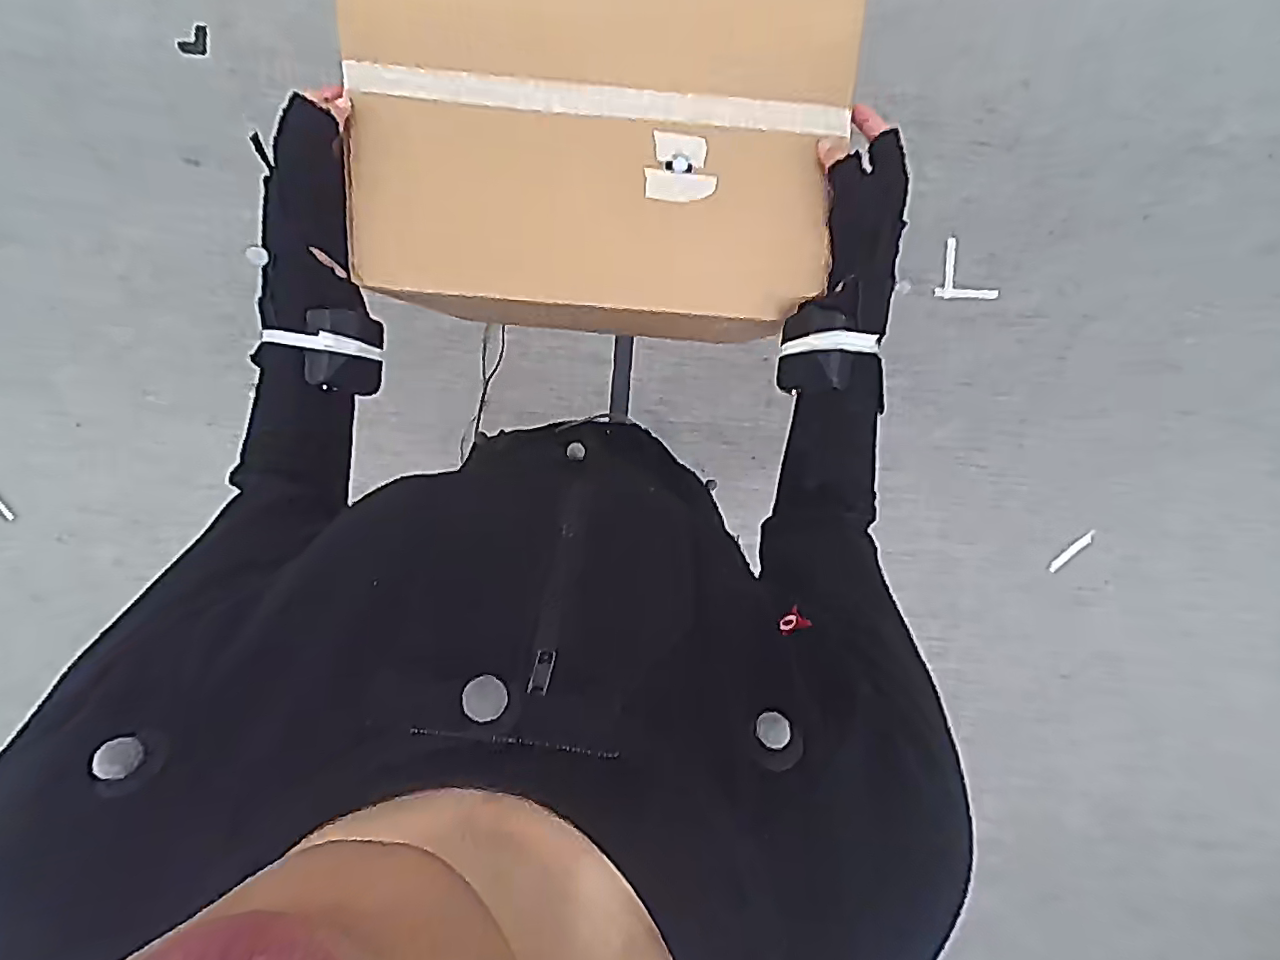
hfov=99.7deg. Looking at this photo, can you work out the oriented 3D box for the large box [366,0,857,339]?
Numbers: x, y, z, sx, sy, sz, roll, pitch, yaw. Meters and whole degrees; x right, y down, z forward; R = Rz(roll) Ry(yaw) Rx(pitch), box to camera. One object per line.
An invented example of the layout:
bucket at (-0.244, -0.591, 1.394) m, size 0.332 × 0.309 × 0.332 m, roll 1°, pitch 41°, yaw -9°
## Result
large box at (-0.033, -0.335, 0.597) m, size 0.408 × 0.320 × 0.320 m, roll 4°, pitch 102°, yaw -3°
